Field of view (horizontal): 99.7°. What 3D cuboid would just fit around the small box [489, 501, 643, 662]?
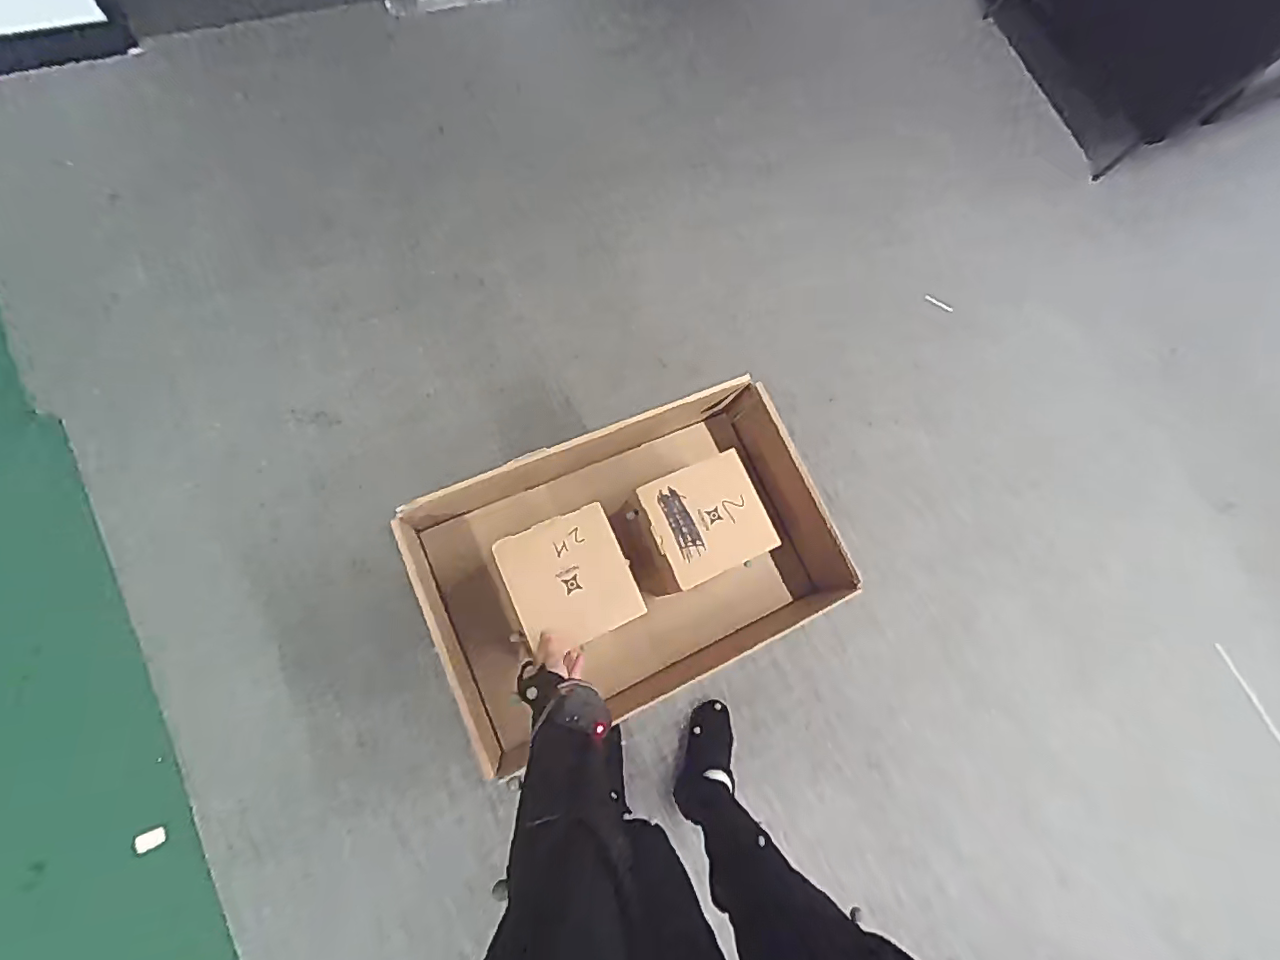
[{"bbox_3d":[-0.117,0.154,0.811,0.168,0.176,0.179,-21,80,-19],"label":"small box"}]
